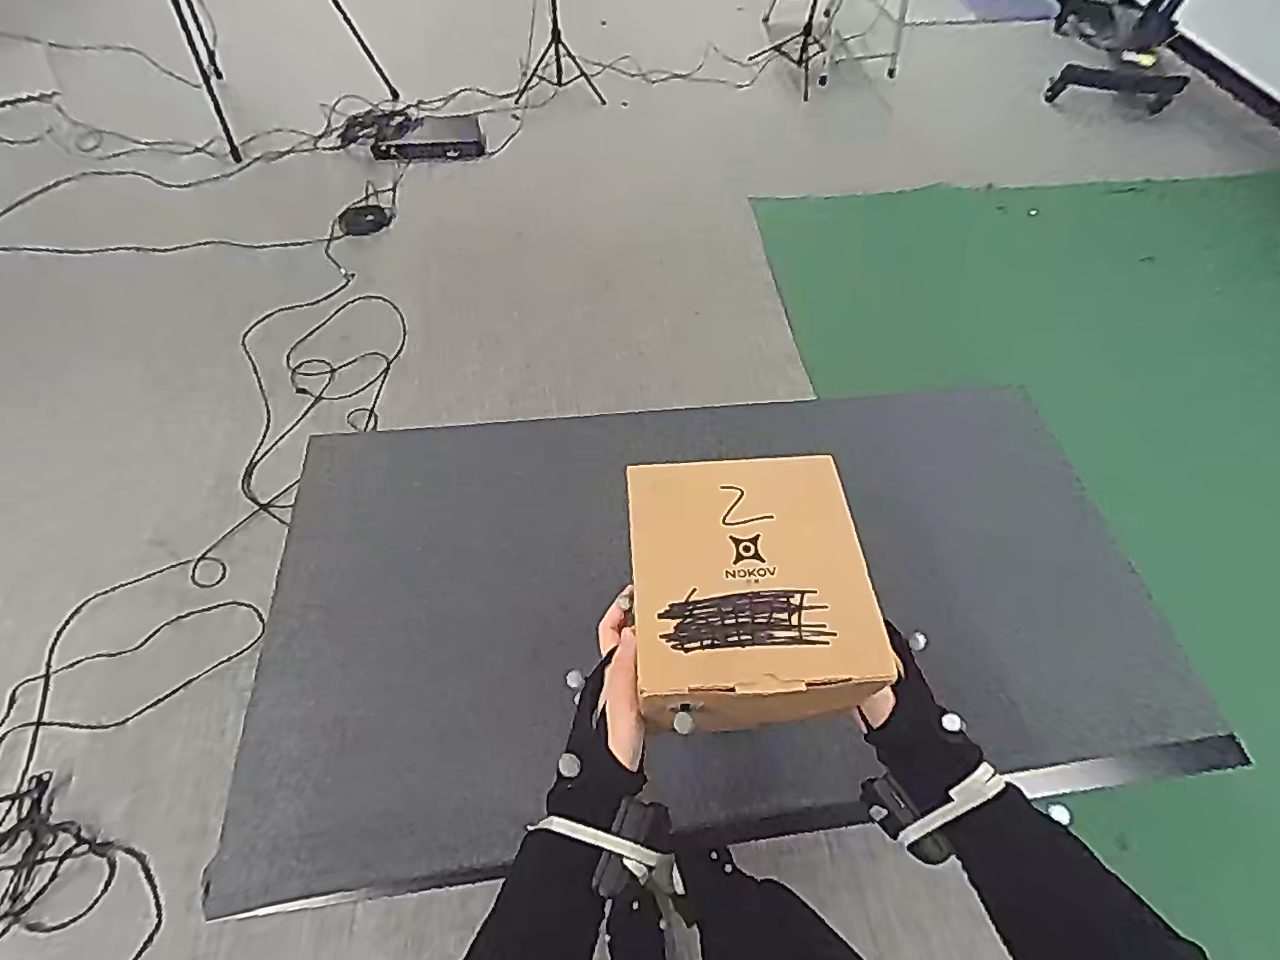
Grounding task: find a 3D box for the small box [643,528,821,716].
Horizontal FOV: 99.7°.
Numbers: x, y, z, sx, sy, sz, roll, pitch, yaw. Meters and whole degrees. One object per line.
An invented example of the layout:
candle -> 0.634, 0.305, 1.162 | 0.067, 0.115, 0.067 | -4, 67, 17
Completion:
small box -> 0.091, 0.171, 0.638 | 0.168, 0.176, 0.179 | -1, 60, -3
